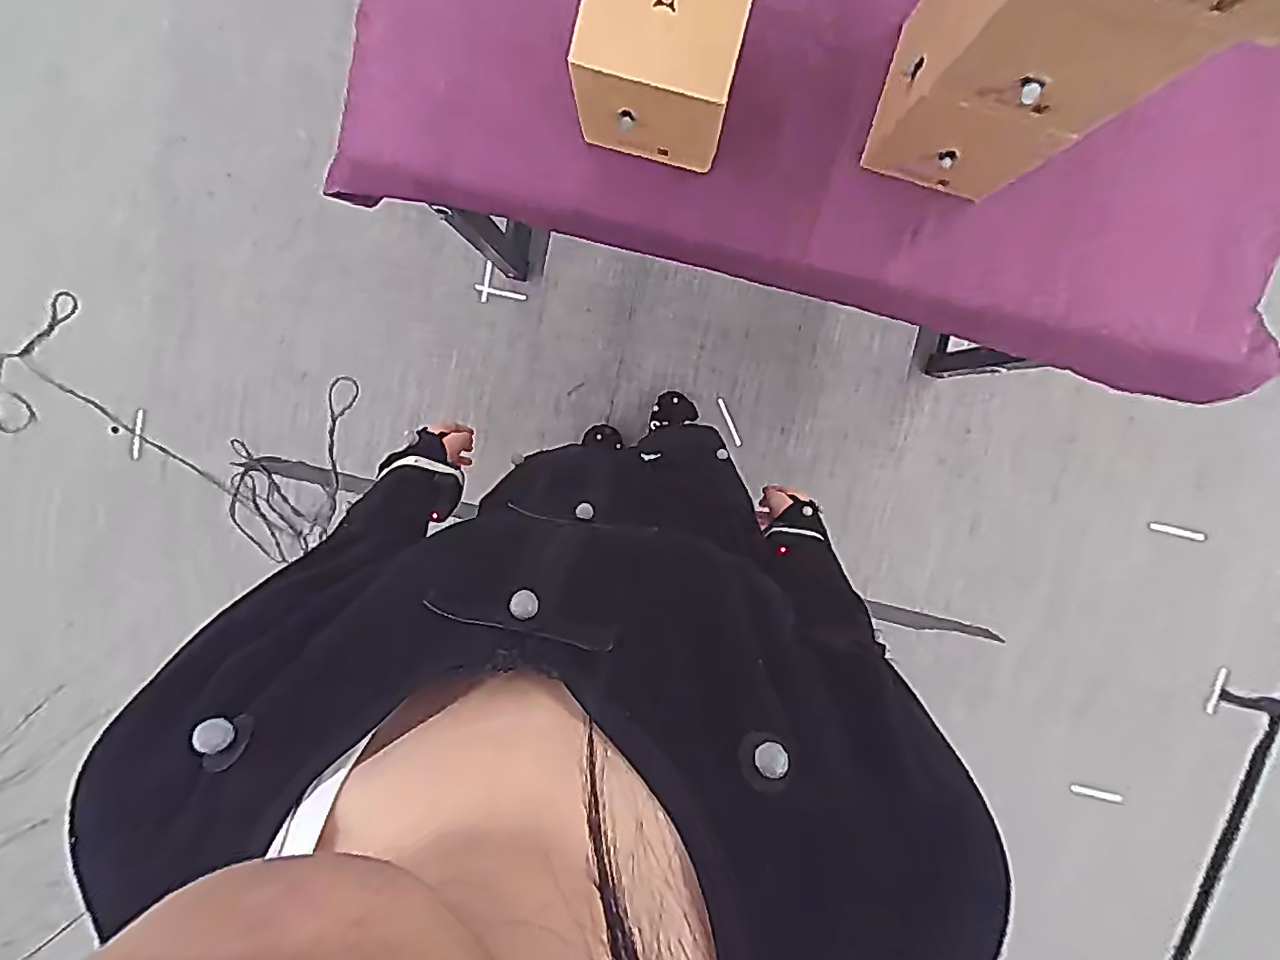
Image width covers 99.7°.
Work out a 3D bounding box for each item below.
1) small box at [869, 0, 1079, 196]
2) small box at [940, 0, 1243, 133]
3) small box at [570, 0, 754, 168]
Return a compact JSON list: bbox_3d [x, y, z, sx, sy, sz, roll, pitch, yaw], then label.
[{"bbox_3d":[0.384,-0.453,0.607,0.168,0.176,0.179,16,97,-2],"label":"small box"},{"bbox_3d":[0.386,-0.434,0.444,0.168,0.176,0.179,16,98,-1],"label":"small box"},{"bbox_3d":[0.030,-0.487,0.608,0.168,0.176,0.179,14,96,-1],"label":"small box"}]
